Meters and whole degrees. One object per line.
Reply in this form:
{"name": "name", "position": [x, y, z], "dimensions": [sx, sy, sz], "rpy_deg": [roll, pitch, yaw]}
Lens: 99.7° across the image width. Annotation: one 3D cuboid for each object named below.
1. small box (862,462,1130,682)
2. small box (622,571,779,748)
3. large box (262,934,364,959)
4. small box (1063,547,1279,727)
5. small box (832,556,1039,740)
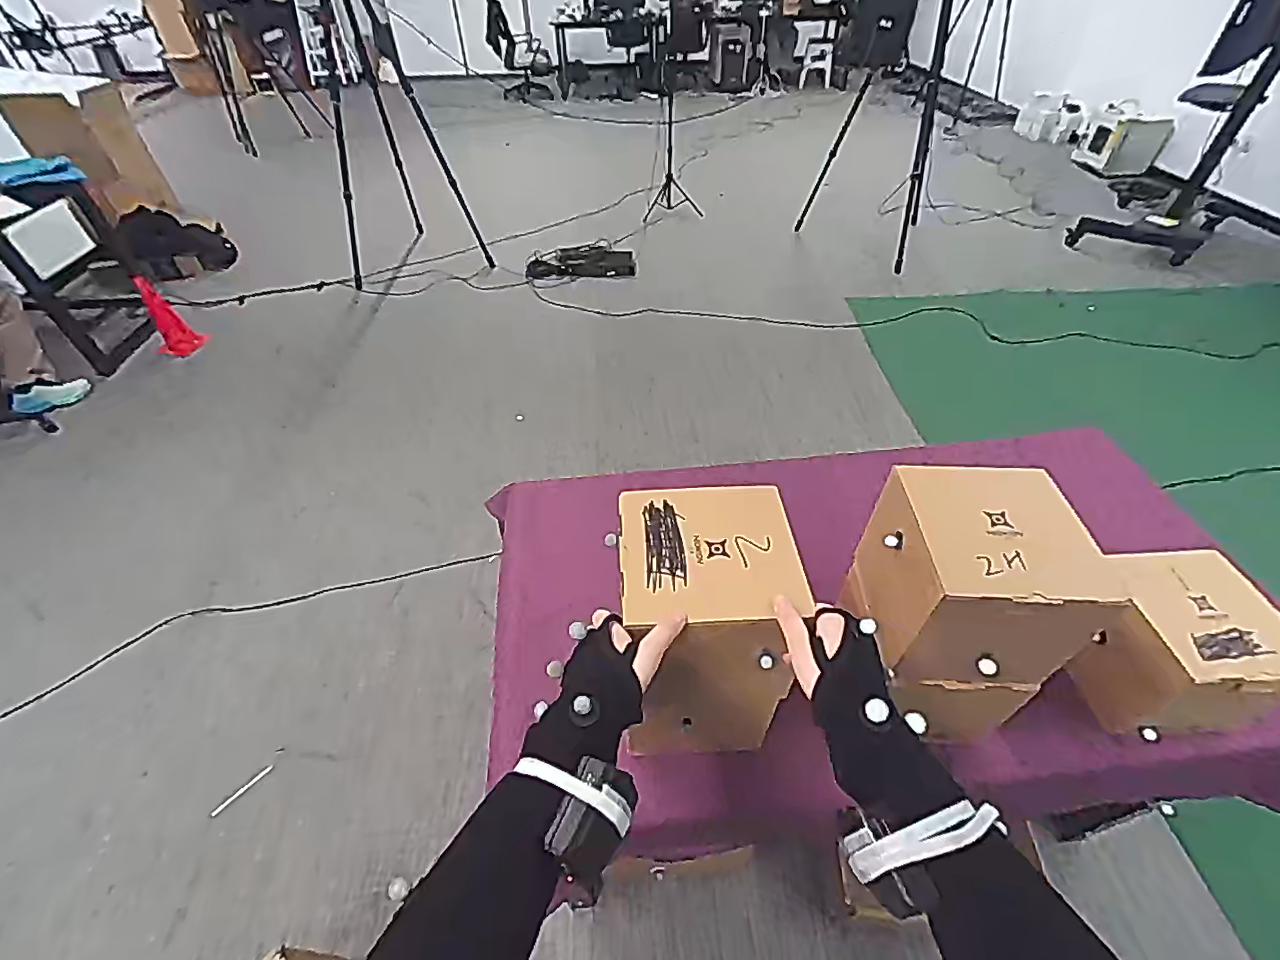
{"name": "small box", "position": [0.364, 0.101, 0.602], "dimensions": [0.168, 0.176, 0.179], "rpy_deg": [1, 47, 4]}
{"name": "small box", "position": [0.070, 0.237, 0.707], "dimensions": [0.179, 0.176, 0.168], "rpy_deg": [-3, 47, 0]}
{"name": "large box", "position": [-0.607, 1.060, 0.856], "dimensions": [0.320, 0.320, 0.408], "rpy_deg": [31, 53, 26]}
{"name": "small box", "position": [0.688, 0.211, 0.711], "dimensions": [0.168, 0.176, 0.179], "rpy_deg": [-3, 45, -1]}
{"name": "small box", "position": [0.367, 0.221, 0.716], "dimensions": [0.168, 0.176, 0.179], "rpy_deg": [1, 47, 3]}
